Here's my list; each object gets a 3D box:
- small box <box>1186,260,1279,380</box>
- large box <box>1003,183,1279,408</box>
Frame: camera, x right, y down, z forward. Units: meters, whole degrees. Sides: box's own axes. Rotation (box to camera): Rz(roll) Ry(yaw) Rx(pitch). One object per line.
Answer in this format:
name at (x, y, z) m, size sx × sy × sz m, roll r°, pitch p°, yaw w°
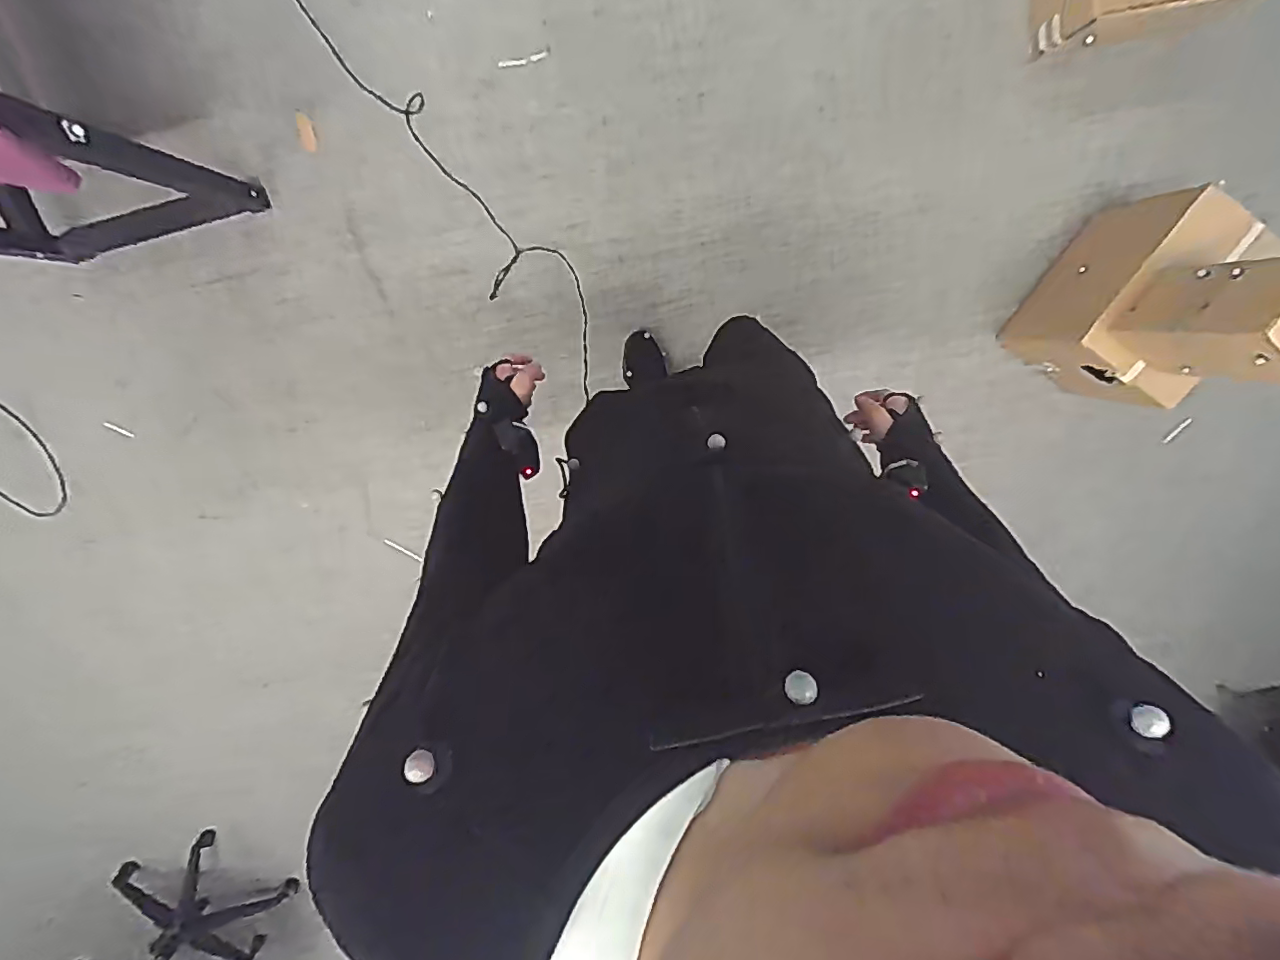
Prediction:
small box at (1.192, -0.292, 0.996) m, size 0.179 × 0.176 × 0.168 m, roll 32°, pitch 103°, yaw -9°
large box at (1.259, -0.444, 1.379) m, size 0.320 × 0.320 × 0.408 m, roll 30°, pitch 102°, yaw -9°
